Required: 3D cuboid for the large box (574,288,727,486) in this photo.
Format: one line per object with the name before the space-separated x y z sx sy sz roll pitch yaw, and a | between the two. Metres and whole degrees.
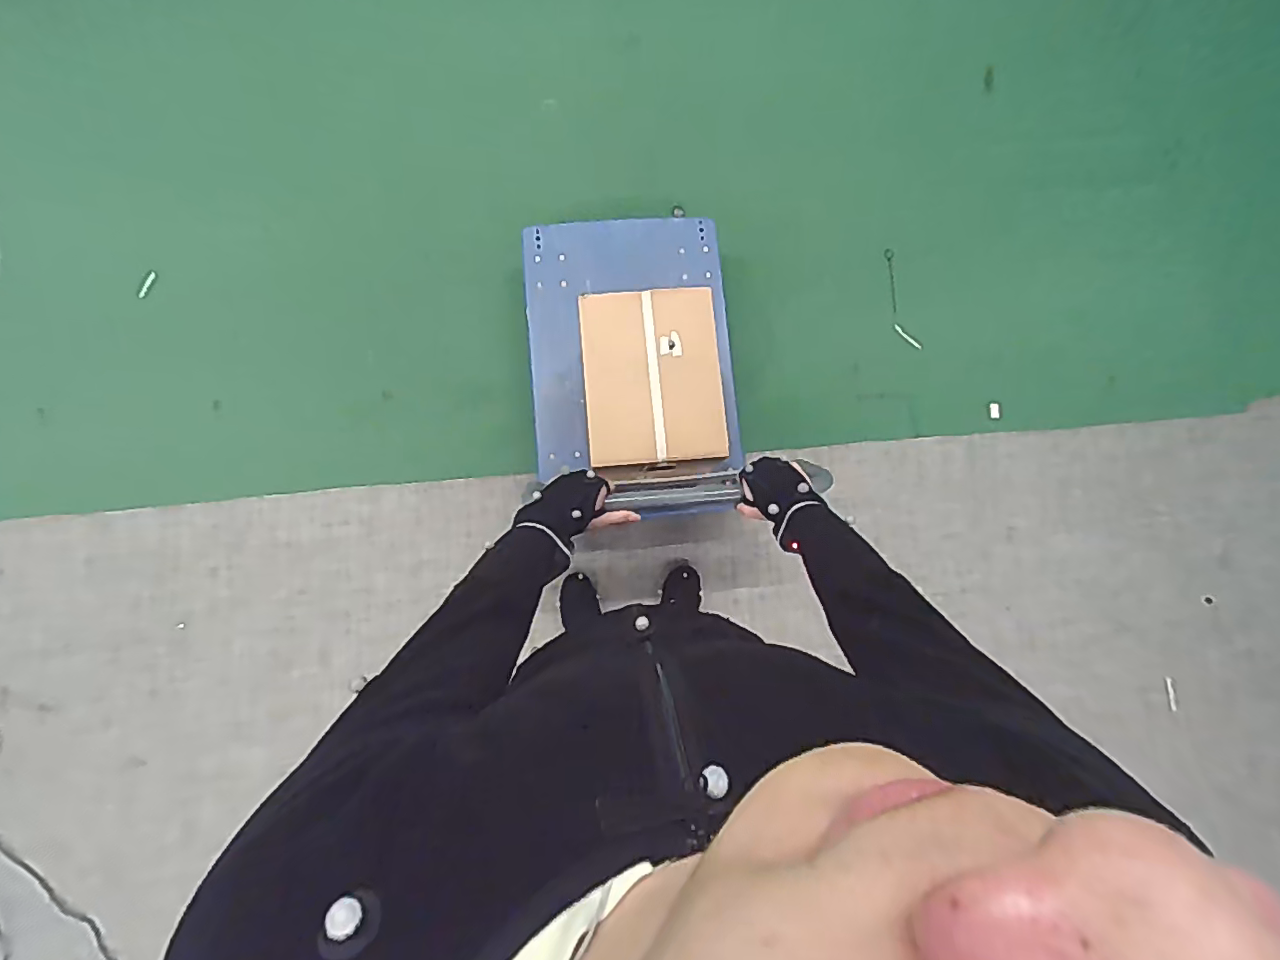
large box | 0.014 -0.216 1.368 0.320 0.320 0.408 -5 82 -5
